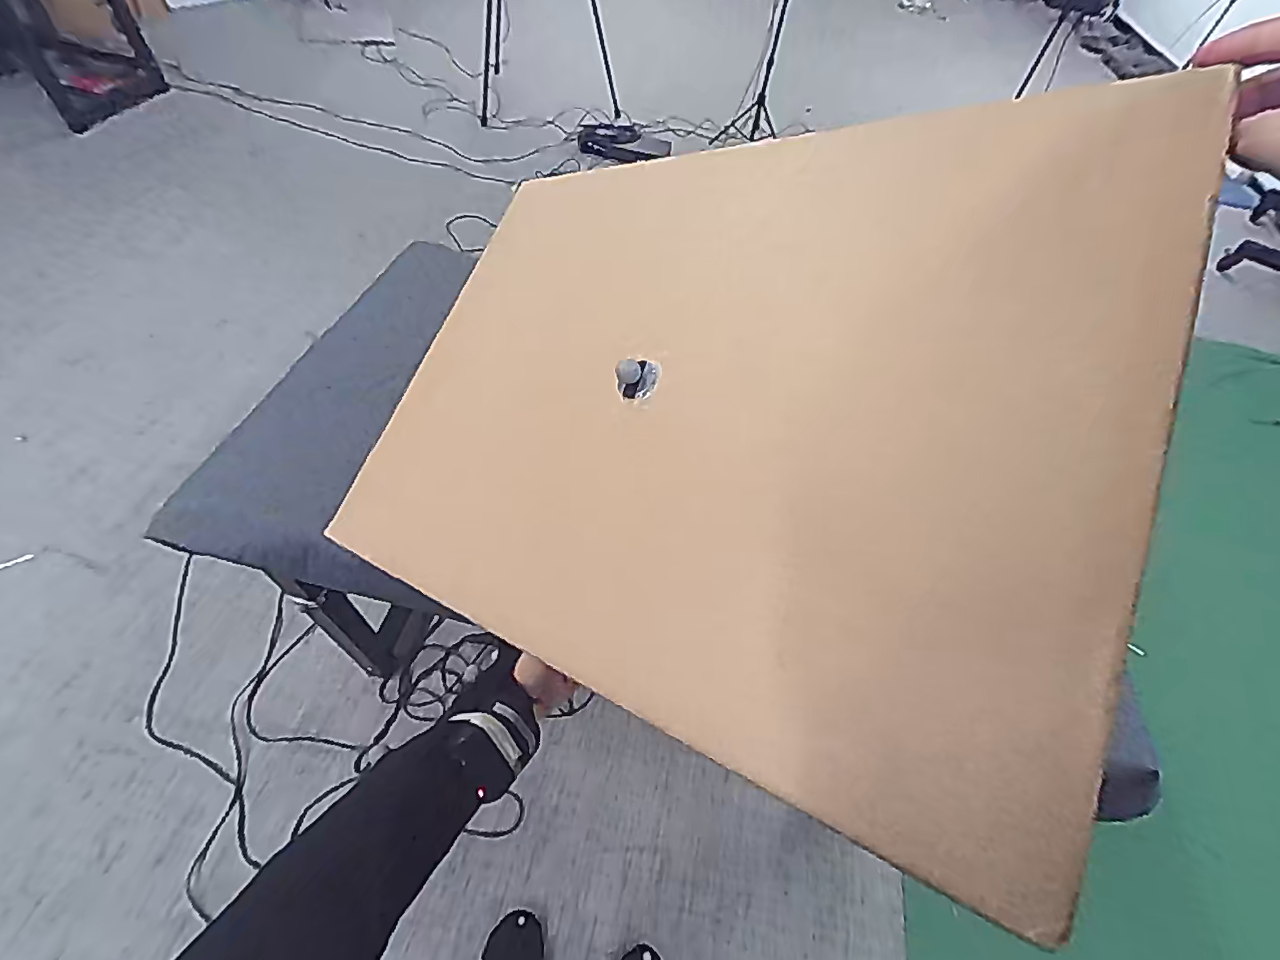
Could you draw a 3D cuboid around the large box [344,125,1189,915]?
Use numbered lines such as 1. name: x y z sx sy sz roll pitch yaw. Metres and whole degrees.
1. large box: 0.076 0.013 0.410 0.408 0.320 0.320 12 72 34
